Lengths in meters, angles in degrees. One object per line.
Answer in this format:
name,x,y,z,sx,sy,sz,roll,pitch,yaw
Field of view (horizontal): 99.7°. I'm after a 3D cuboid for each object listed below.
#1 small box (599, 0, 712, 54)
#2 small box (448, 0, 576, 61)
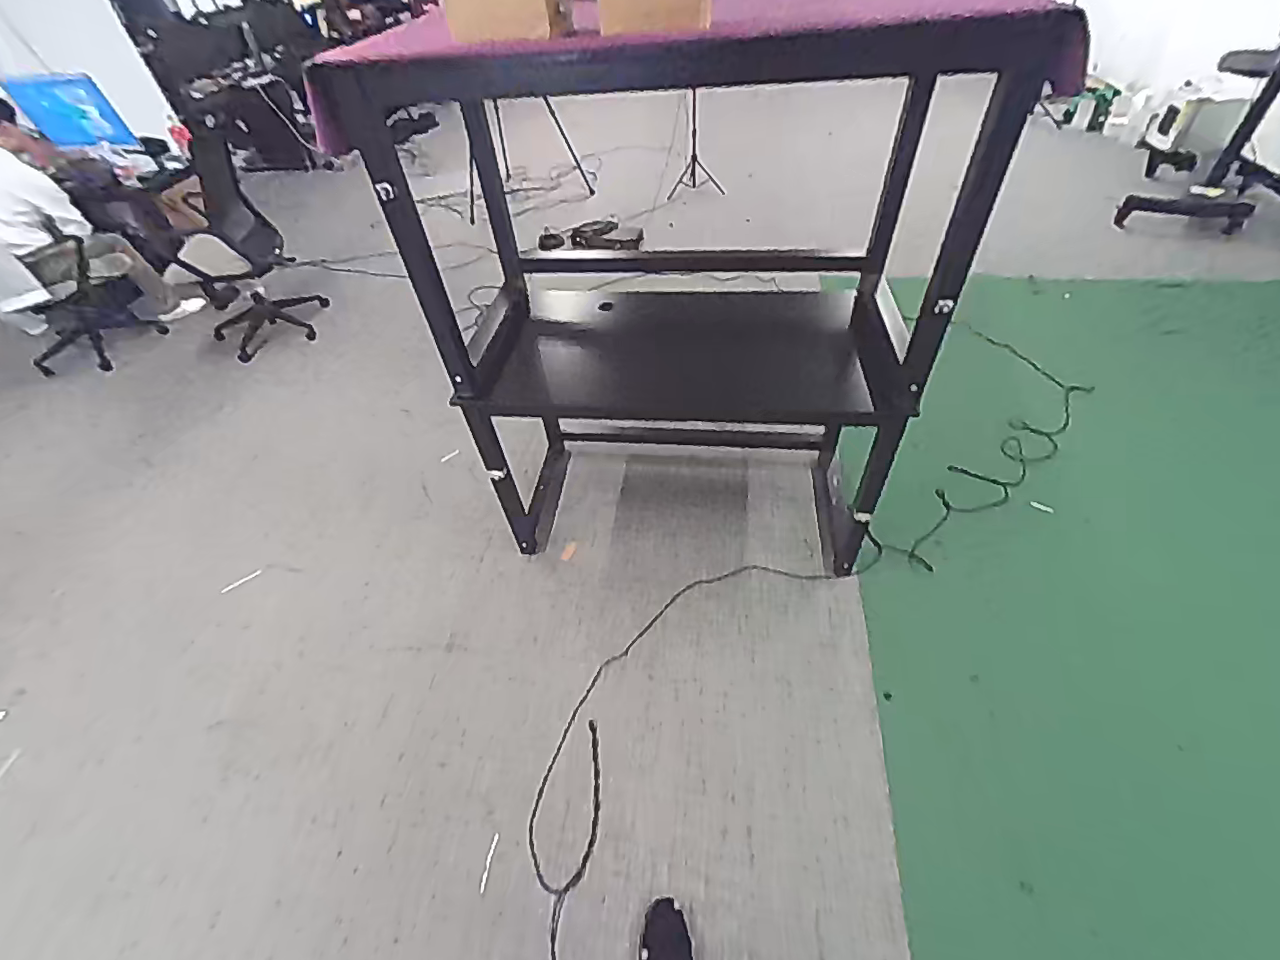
small box,0.029,-0.823,0.888,0.179,0.176,0.168,1,45,8
small box,-0.222,-0.835,0.924,0.179,0.176,0.168,4,47,9
